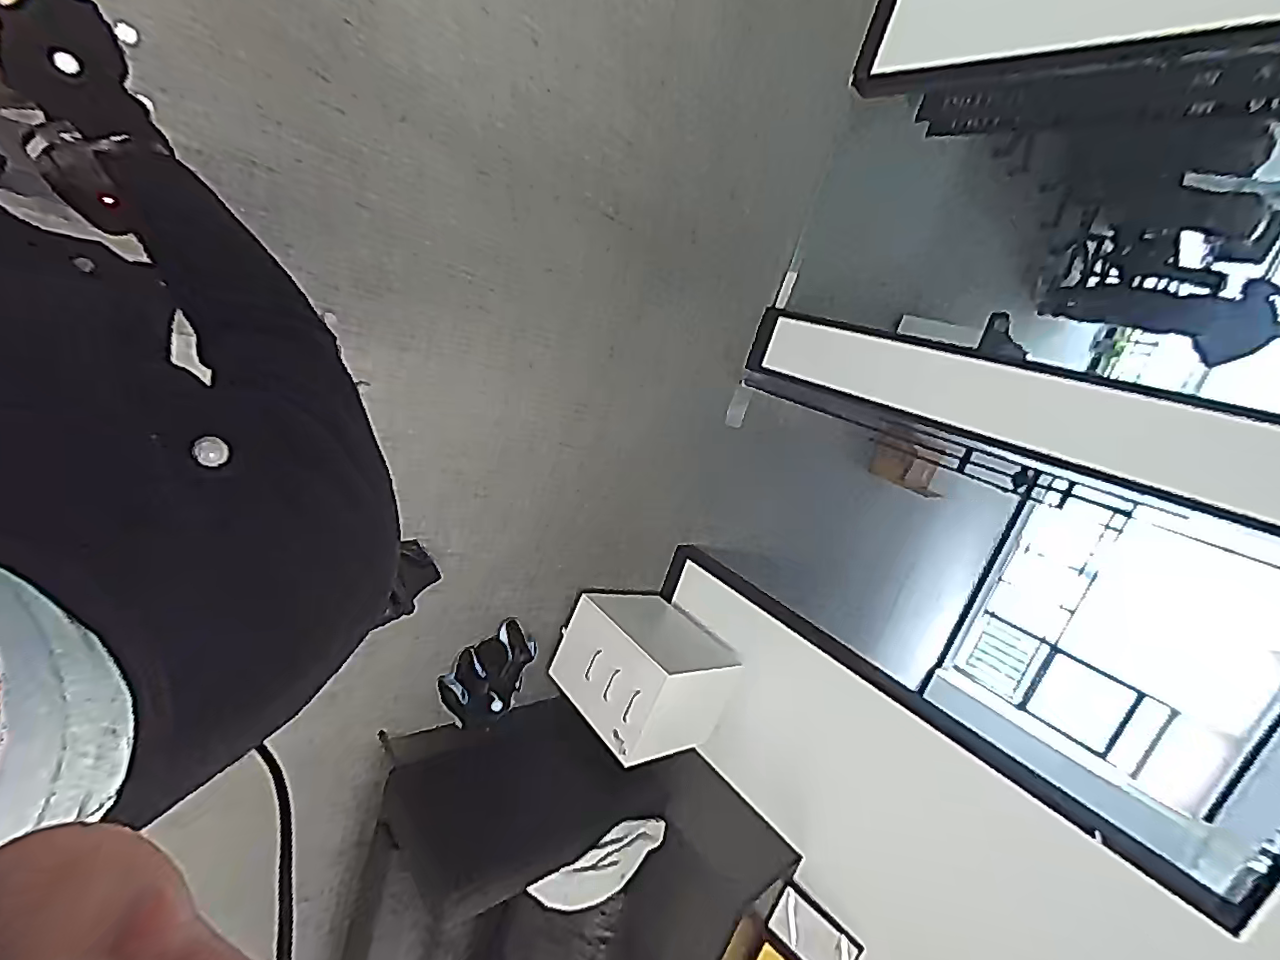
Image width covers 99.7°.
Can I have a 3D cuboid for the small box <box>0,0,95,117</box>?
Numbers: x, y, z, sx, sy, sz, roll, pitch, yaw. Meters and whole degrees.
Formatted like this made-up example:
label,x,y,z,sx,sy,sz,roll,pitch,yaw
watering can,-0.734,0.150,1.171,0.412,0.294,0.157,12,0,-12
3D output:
label,x,y,z,sx,sy,sz,roll,pitch,yaw
small box,-0.604,-0.428,0.439,0.168,0.176,0.179,-19,101,-27
